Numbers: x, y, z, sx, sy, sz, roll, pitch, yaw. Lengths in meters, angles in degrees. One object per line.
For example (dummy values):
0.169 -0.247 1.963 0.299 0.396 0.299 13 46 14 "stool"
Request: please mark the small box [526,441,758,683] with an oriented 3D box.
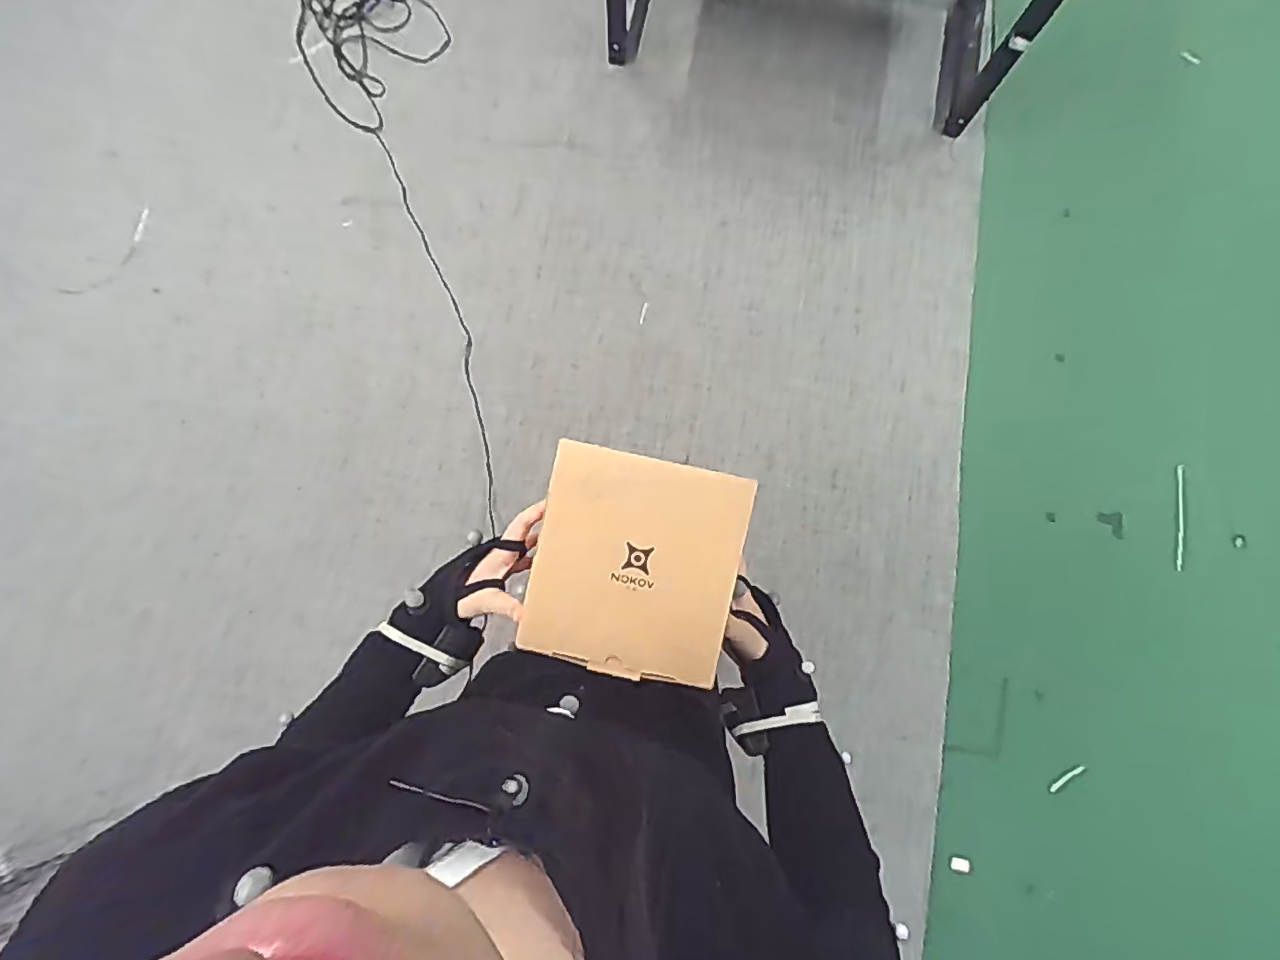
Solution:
-0.001 0.066 0.526 0.168 0.176 0.179 12 92 -2 "small box"
